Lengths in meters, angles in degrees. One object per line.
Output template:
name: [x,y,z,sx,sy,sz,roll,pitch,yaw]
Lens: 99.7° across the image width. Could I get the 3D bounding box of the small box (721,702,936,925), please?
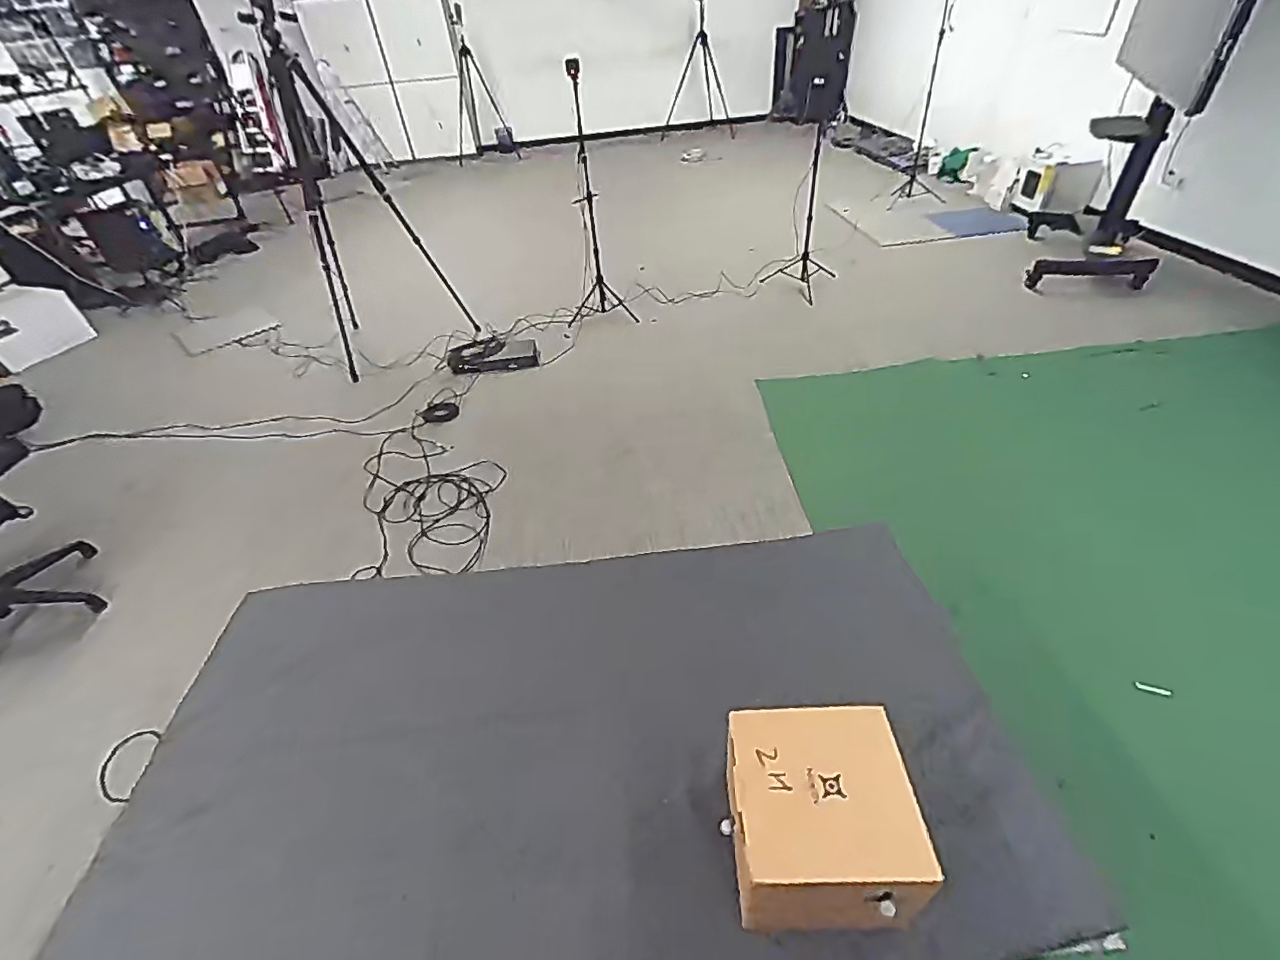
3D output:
small box: [0.185,0.365,0.594,0.179,0.176,0.168,-4,39,4]
